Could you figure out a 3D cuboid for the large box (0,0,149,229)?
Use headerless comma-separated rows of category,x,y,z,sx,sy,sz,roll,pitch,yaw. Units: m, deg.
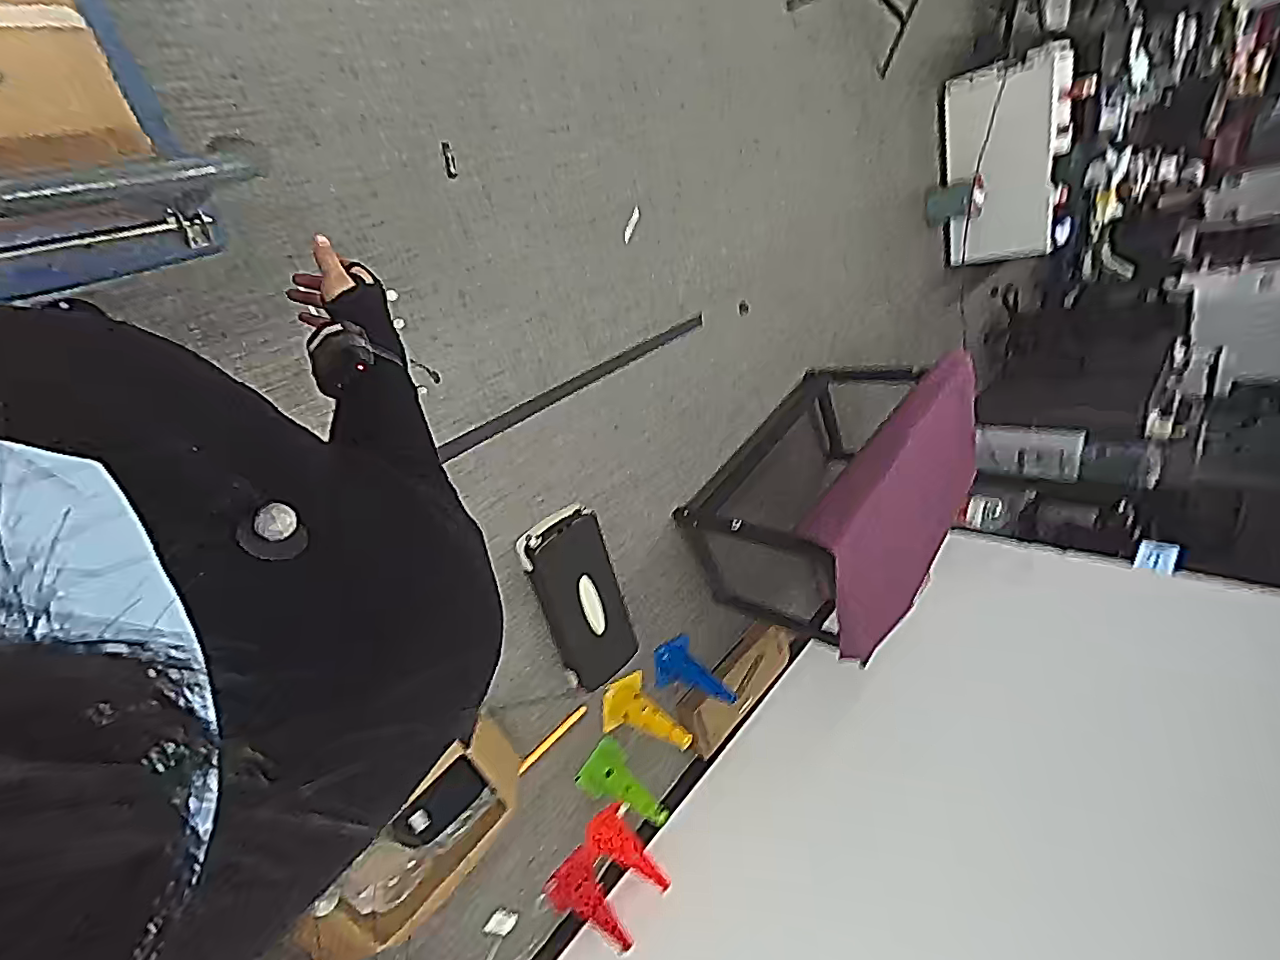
large box,-0.949,-0.502,0.676,0.408,0.320,0.320,-34,121,-35
